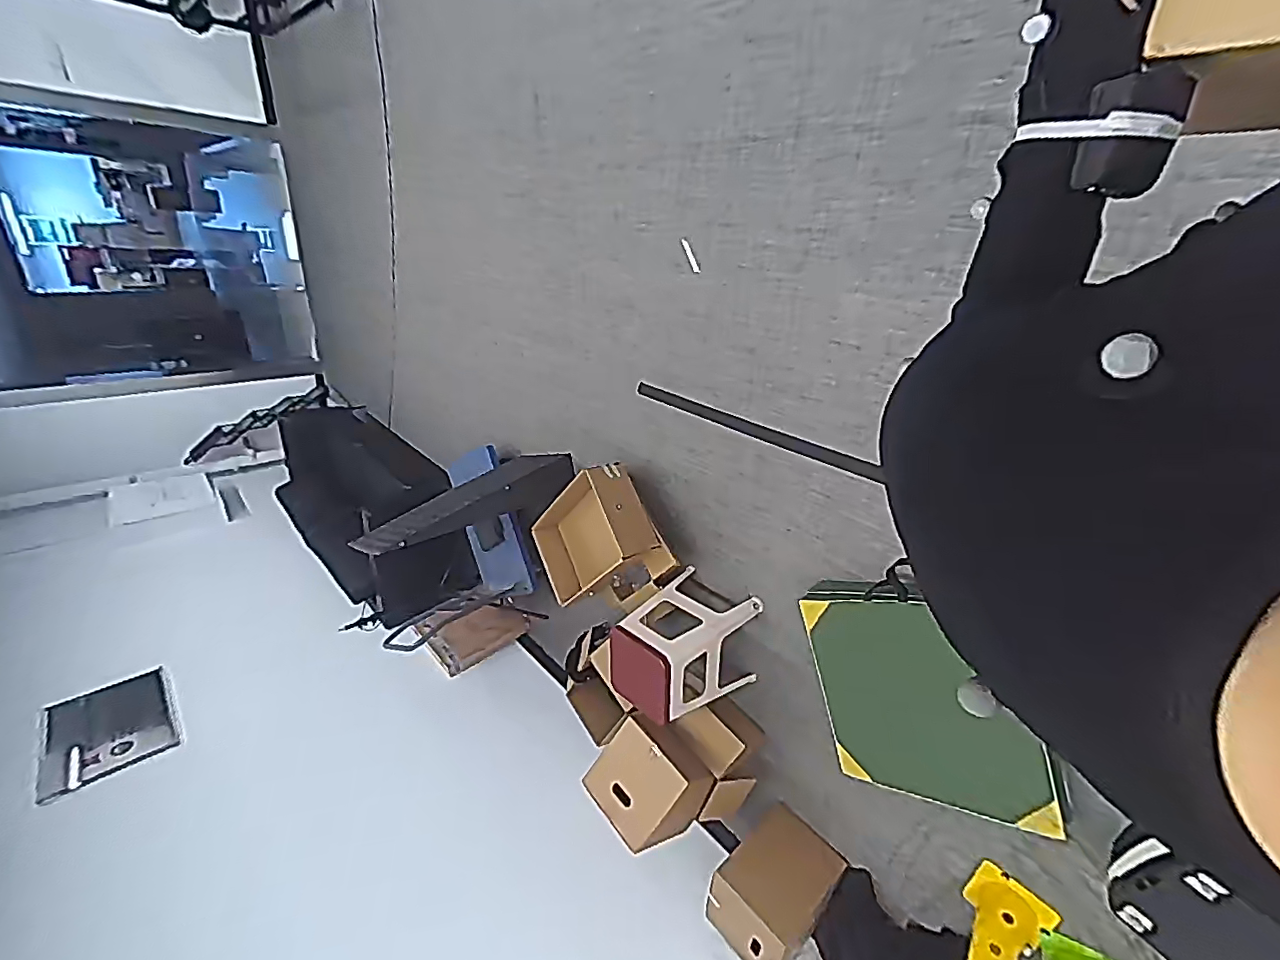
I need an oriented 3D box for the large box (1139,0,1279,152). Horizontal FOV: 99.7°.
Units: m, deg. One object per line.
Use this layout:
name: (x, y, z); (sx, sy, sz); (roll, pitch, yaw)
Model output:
large box: (0.567, -0.379, 0.270); (0.408, 0.320, 0.320); (22, 121, 38)
